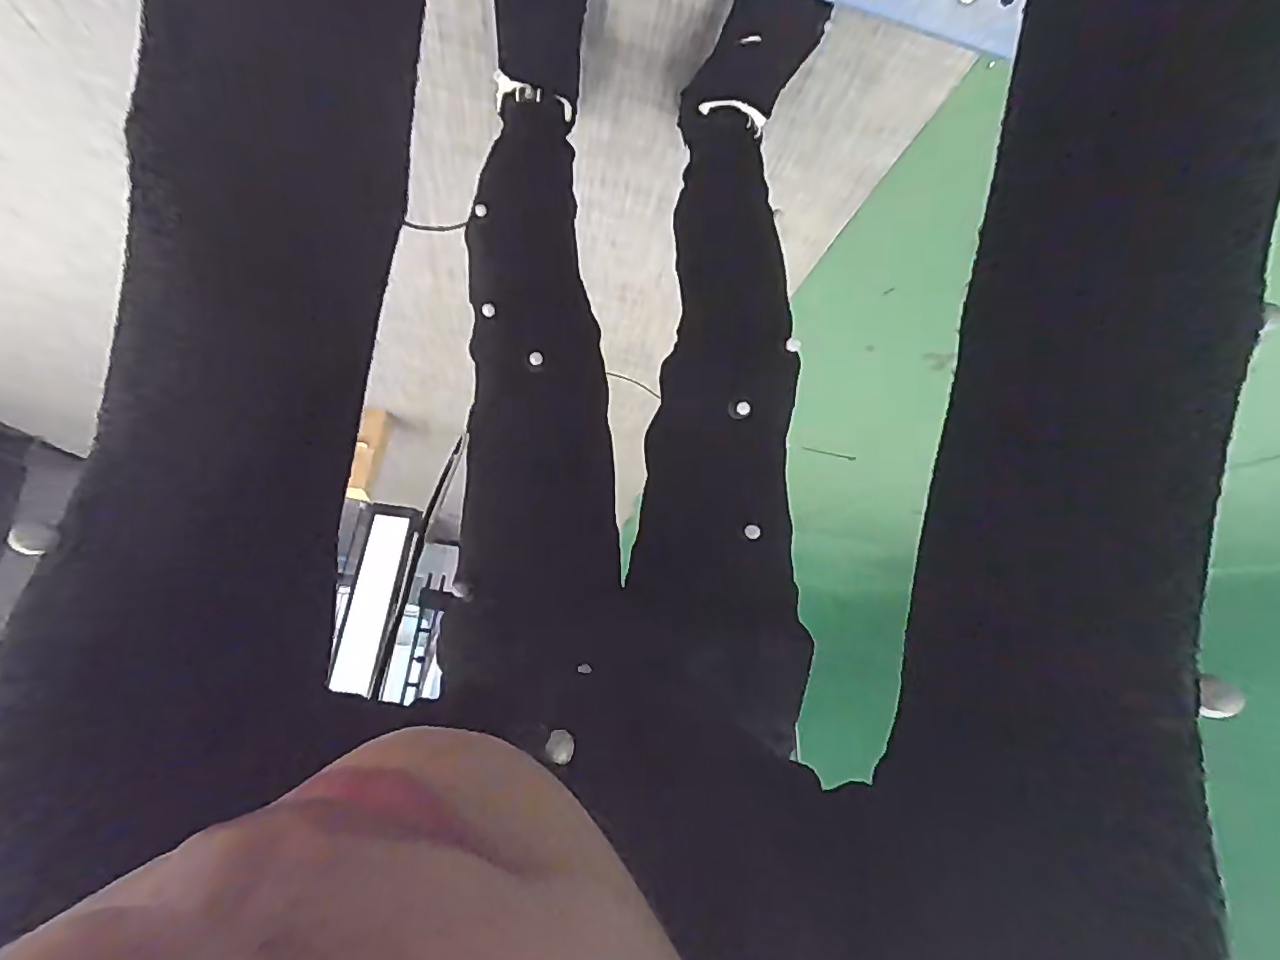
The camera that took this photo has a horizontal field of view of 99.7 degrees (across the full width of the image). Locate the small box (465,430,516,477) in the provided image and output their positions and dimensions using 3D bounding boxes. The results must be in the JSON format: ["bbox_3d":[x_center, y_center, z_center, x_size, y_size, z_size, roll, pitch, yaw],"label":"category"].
[{"bbox_3d":[-0.617,-0.092,2.230,0.179,0.176,0.168,12,160,-15],"label":"small box"}]

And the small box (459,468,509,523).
[{"bbox_3d":[-0.629,0.062,2.176,0.168,0.176,0.179,11,160,-14],"label":"small box"}]

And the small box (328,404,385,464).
[{"bbox_3d":[-1.111,-0.179,2.130,0.168,0.176,0.179,12,160,-21],"label":"small box"}]

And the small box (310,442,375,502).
[{"bbox_3d":[-1.136,-0.028,2.081,0.168,0.176,0.179,12,160,-15],"label":"small box"}]
